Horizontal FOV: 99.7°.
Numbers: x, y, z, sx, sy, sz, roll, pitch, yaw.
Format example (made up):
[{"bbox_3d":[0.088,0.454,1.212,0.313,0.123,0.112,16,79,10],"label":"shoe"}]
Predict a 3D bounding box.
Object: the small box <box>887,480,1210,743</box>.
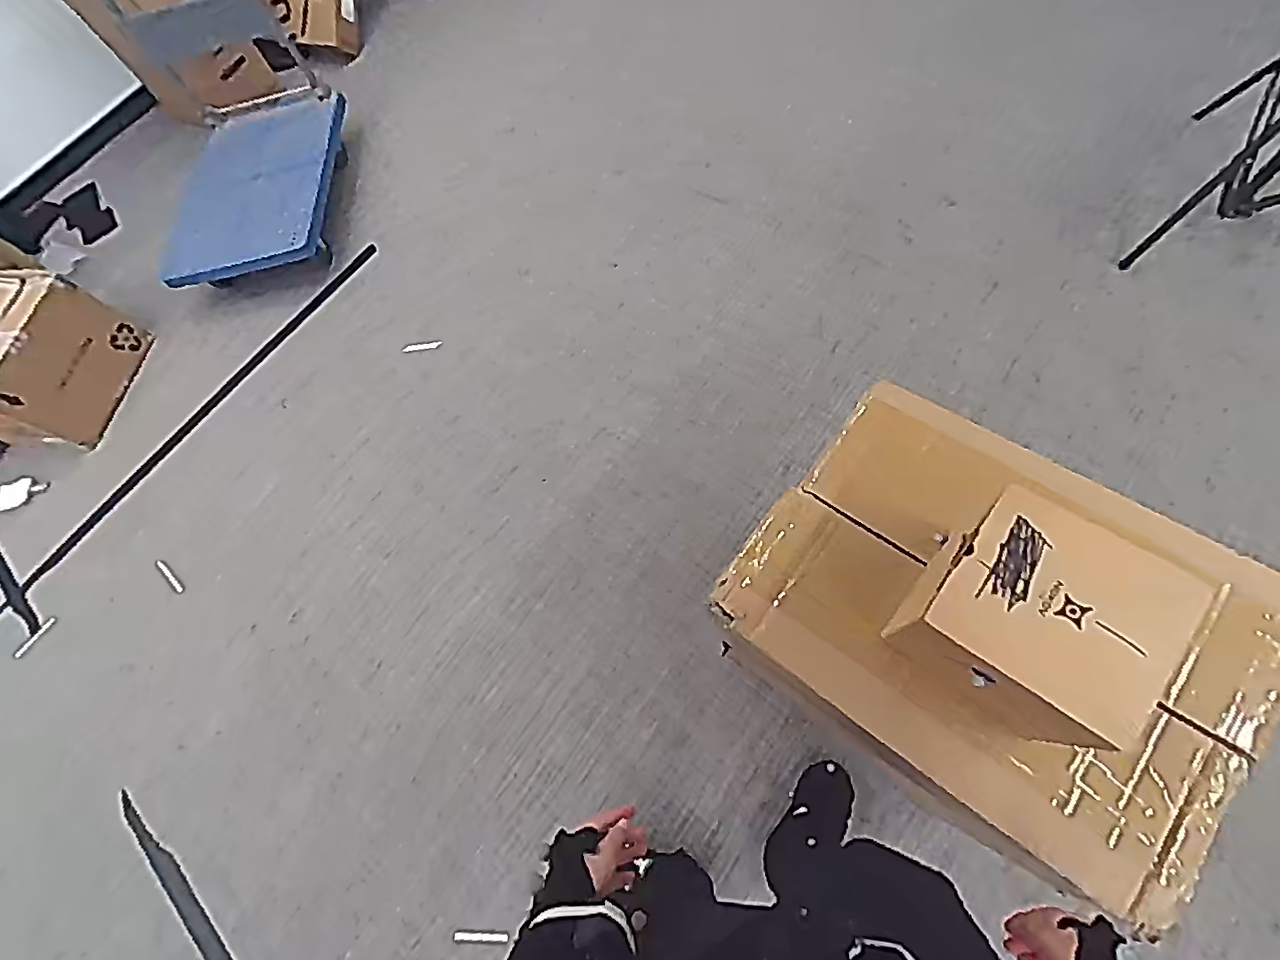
[{"bbox_3d":[0.380,0.134,0.544,0.179,0.176,0.168,35,79,22],"label":"small box"}]
